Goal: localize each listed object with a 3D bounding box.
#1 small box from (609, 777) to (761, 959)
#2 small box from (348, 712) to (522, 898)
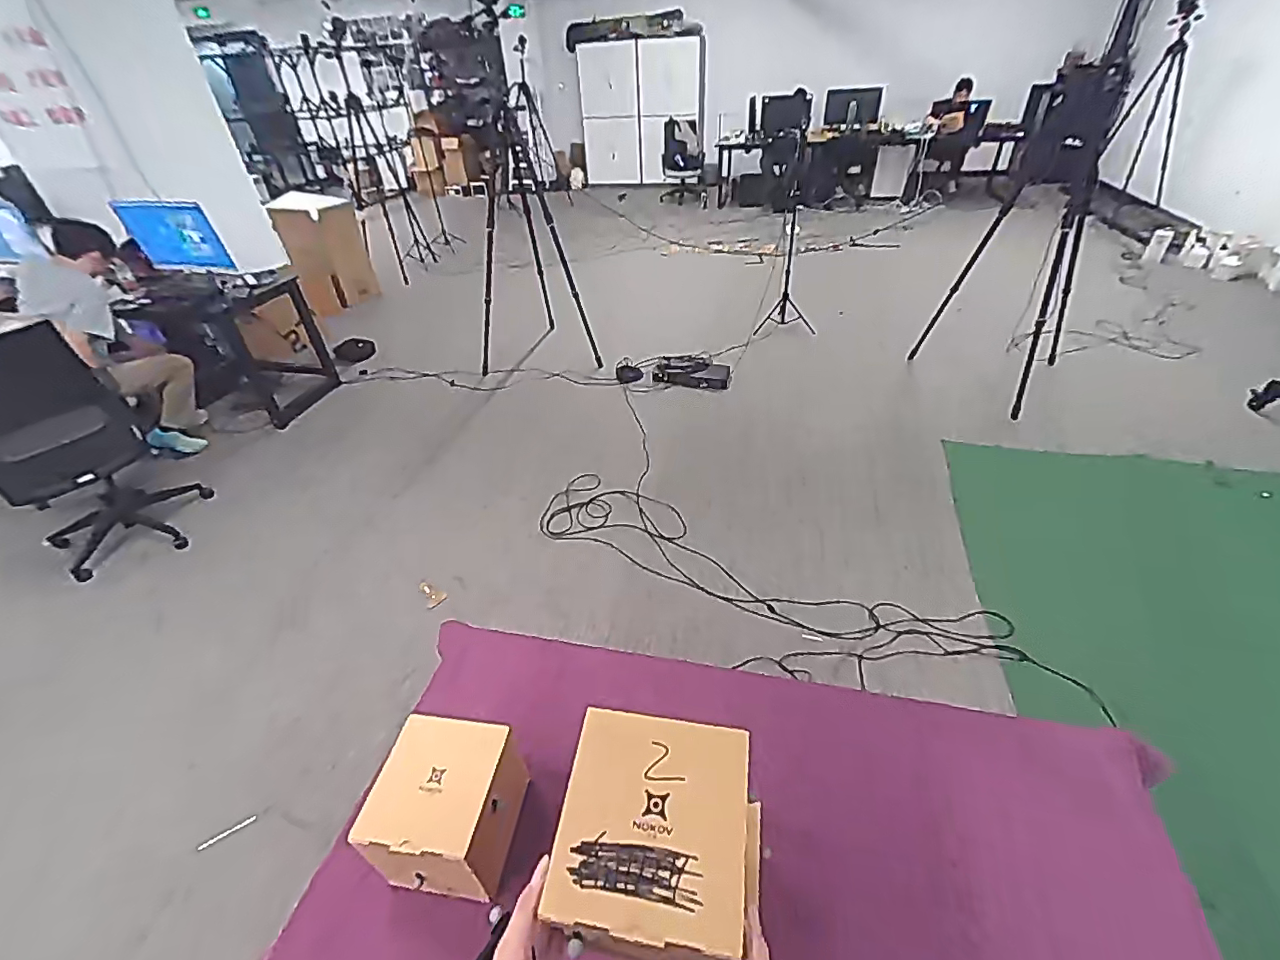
[{"bbox_3d":[0.064,0.526,0.702,0.168,0.176,0.179,4,39,11],"label":"small box"},{"bbox_3d":[-0.284,0.477,0.799,0.168,0.176,0.179,3,39,9],"label":"small box"}]
